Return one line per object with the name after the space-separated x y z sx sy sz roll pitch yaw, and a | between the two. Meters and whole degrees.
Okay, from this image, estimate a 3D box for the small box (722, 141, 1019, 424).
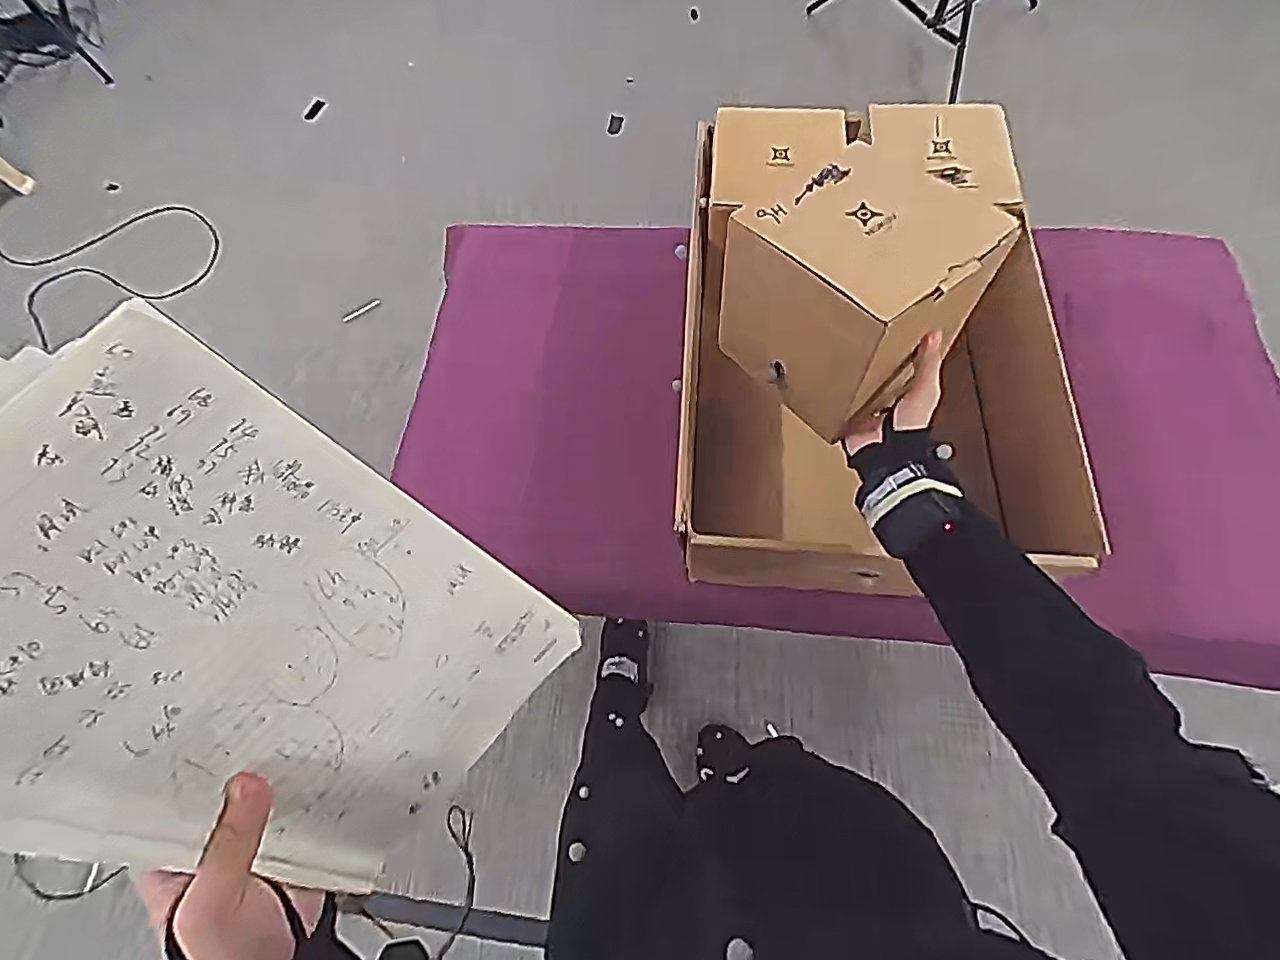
0.200 -0.178 0.526 0.168 0.176 0.179 -34 65 -15 | small box
